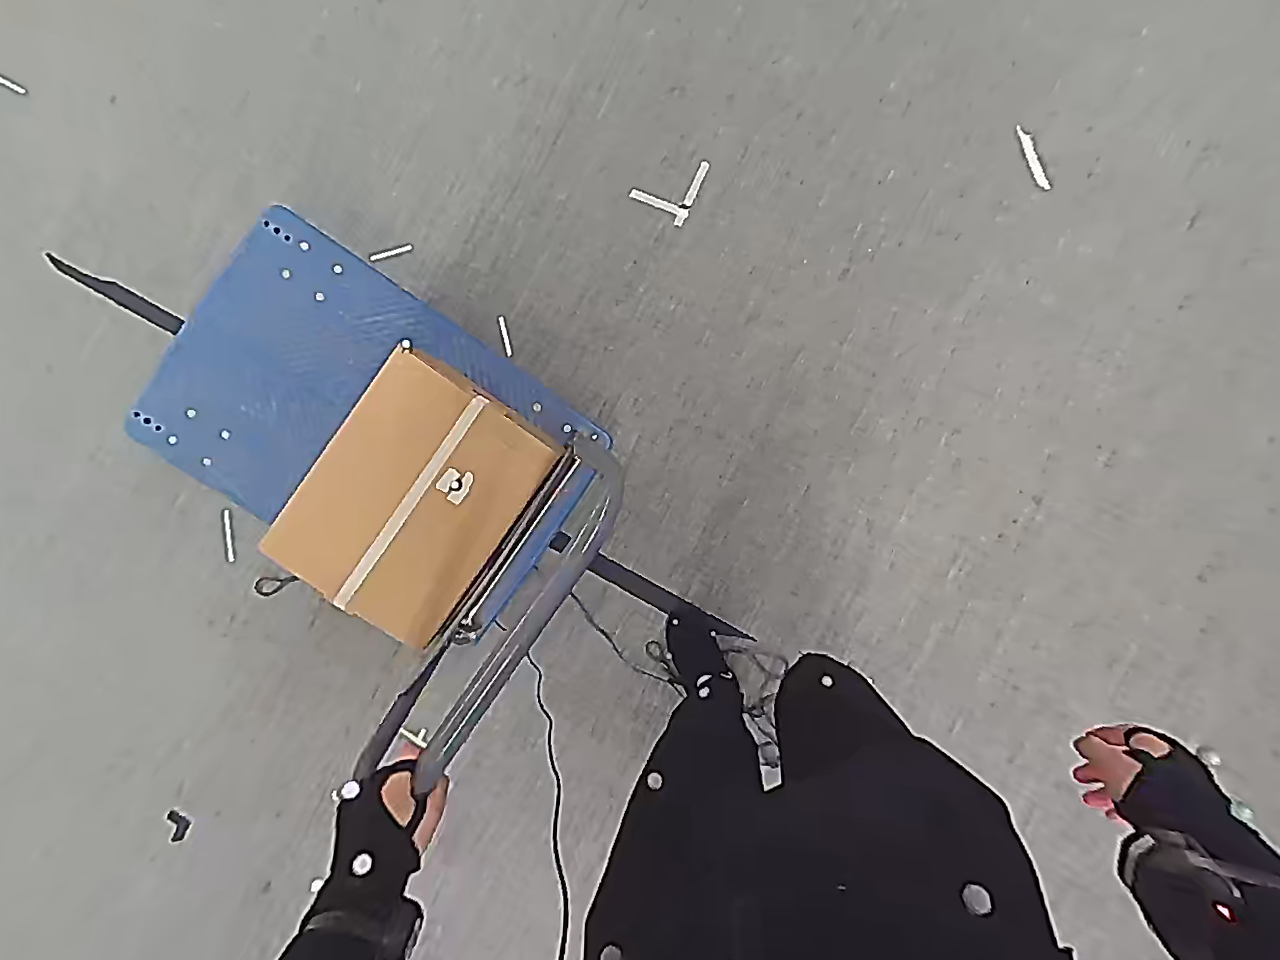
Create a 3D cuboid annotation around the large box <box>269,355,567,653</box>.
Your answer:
[{"bbox_3d":[-0.381,0.038,1.034,0.320,0.320,0.408,35,90,-6],"label":"large box"}]
